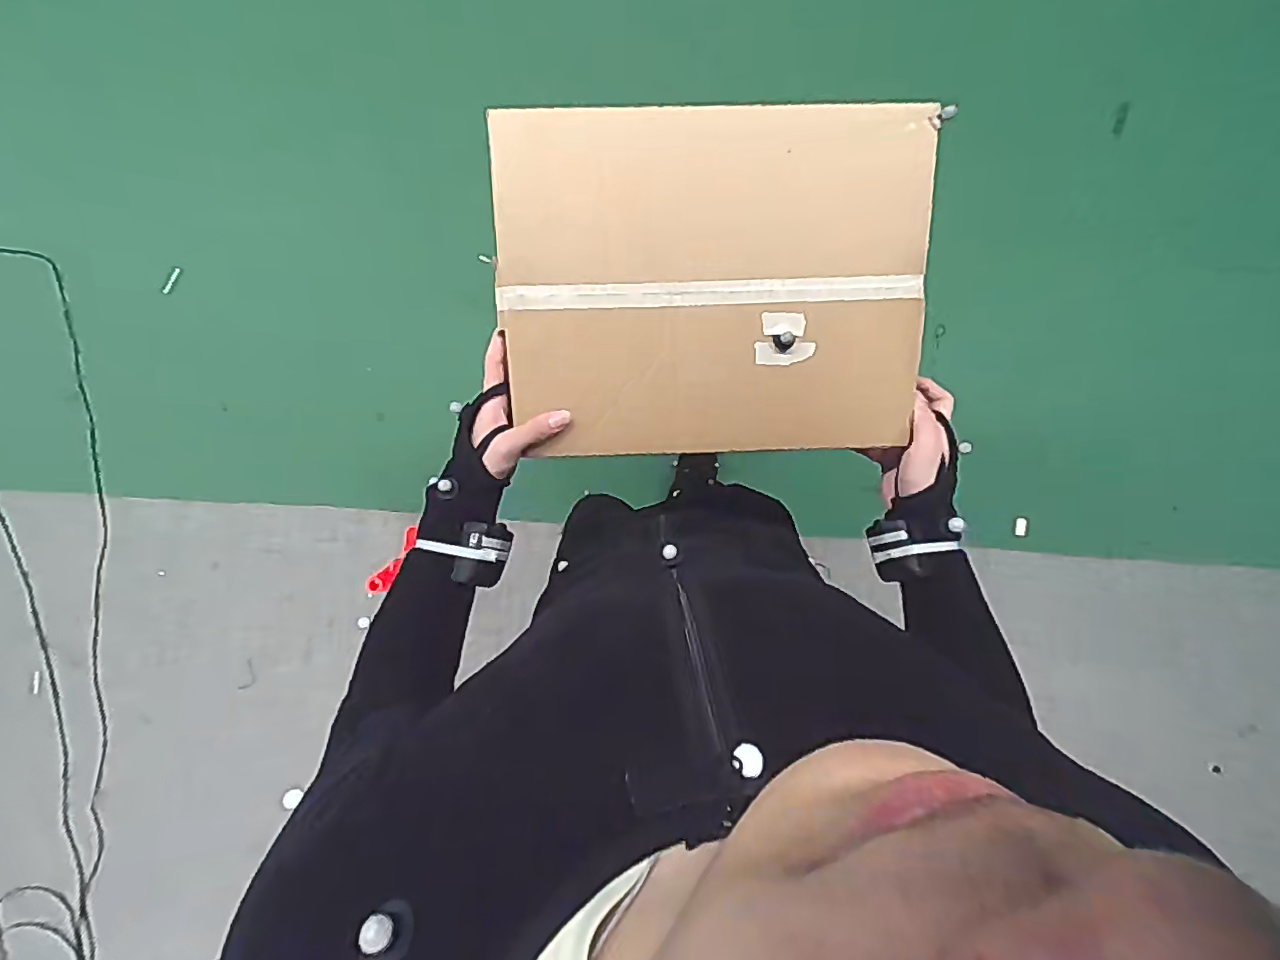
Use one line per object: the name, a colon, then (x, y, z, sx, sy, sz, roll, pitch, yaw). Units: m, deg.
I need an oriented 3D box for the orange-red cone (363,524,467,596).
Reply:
orange-red cone: (-0.648, 0.244, 1.484, 0.199, 0.360, 0.198, 11, 90, 3)

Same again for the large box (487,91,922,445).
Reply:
large box: (0.059, -0.230, 0.666, 0.408, 0.320, 0.320, -3, 105, -2)
